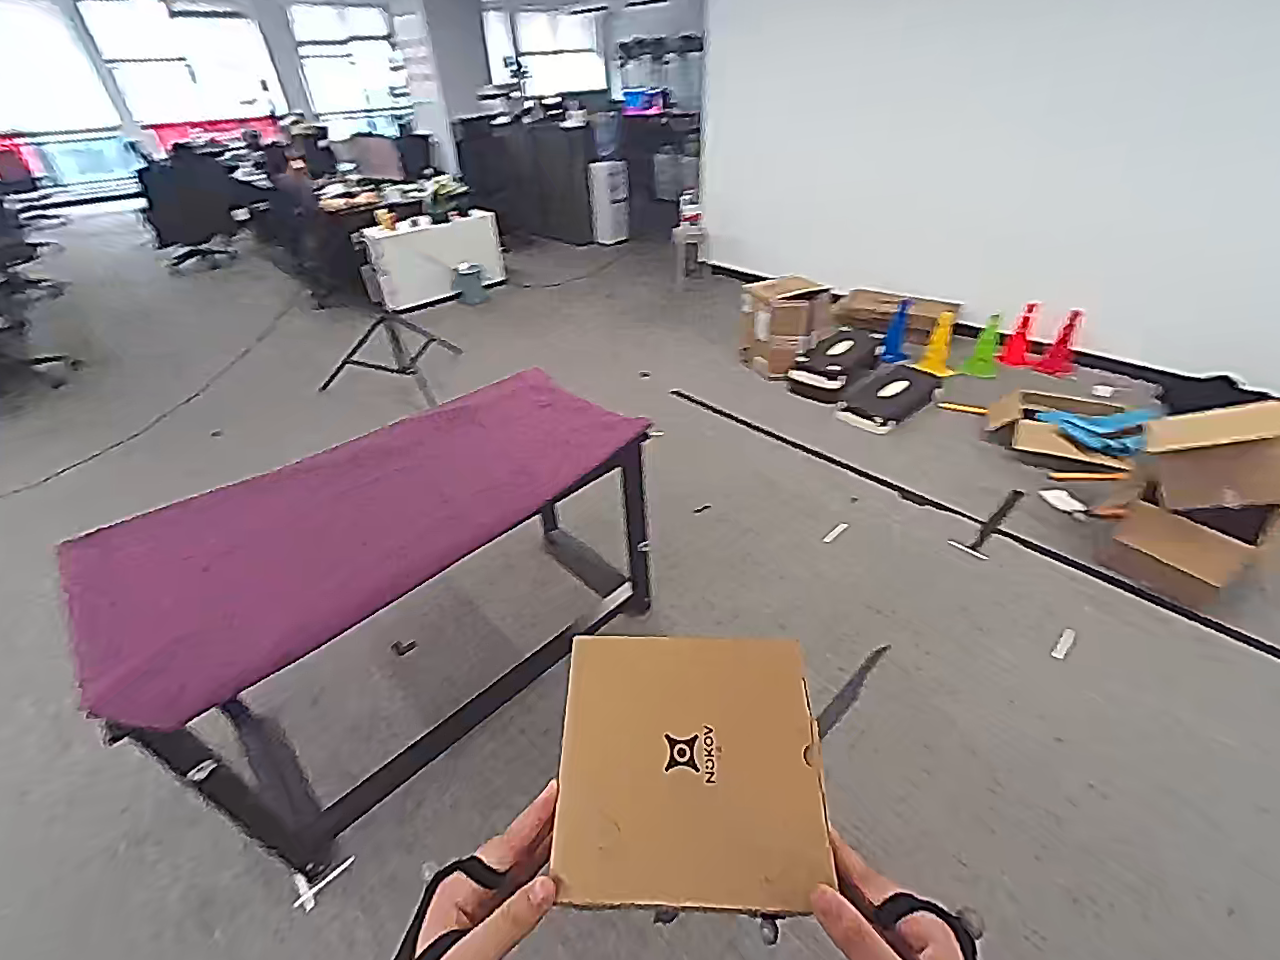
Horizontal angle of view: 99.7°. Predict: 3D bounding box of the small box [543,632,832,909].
[{"bbox_3d":[0.032,0.234,0.431,0.179,0.176,0.168,-1,51,2],"label":"small box"}]
